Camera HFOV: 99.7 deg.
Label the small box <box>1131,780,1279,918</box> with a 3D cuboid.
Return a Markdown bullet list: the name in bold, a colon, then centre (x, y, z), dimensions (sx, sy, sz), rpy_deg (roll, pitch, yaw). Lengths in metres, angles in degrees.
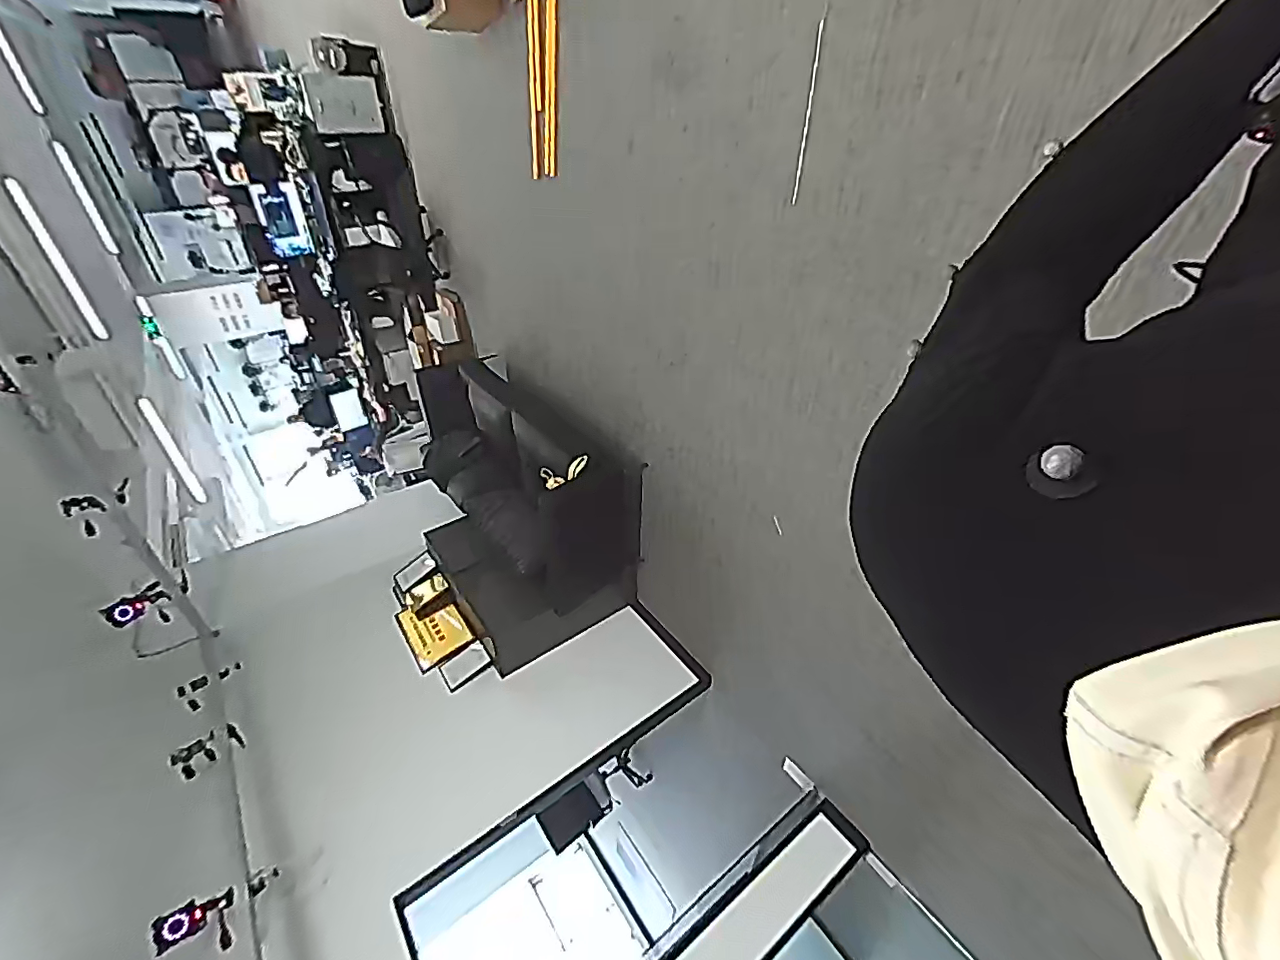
- **small box**: centre (1.282, 0.829, 1.223), dimensions (0.168, 0.176, 0.179), rpy_deg (39, 142, 38)
